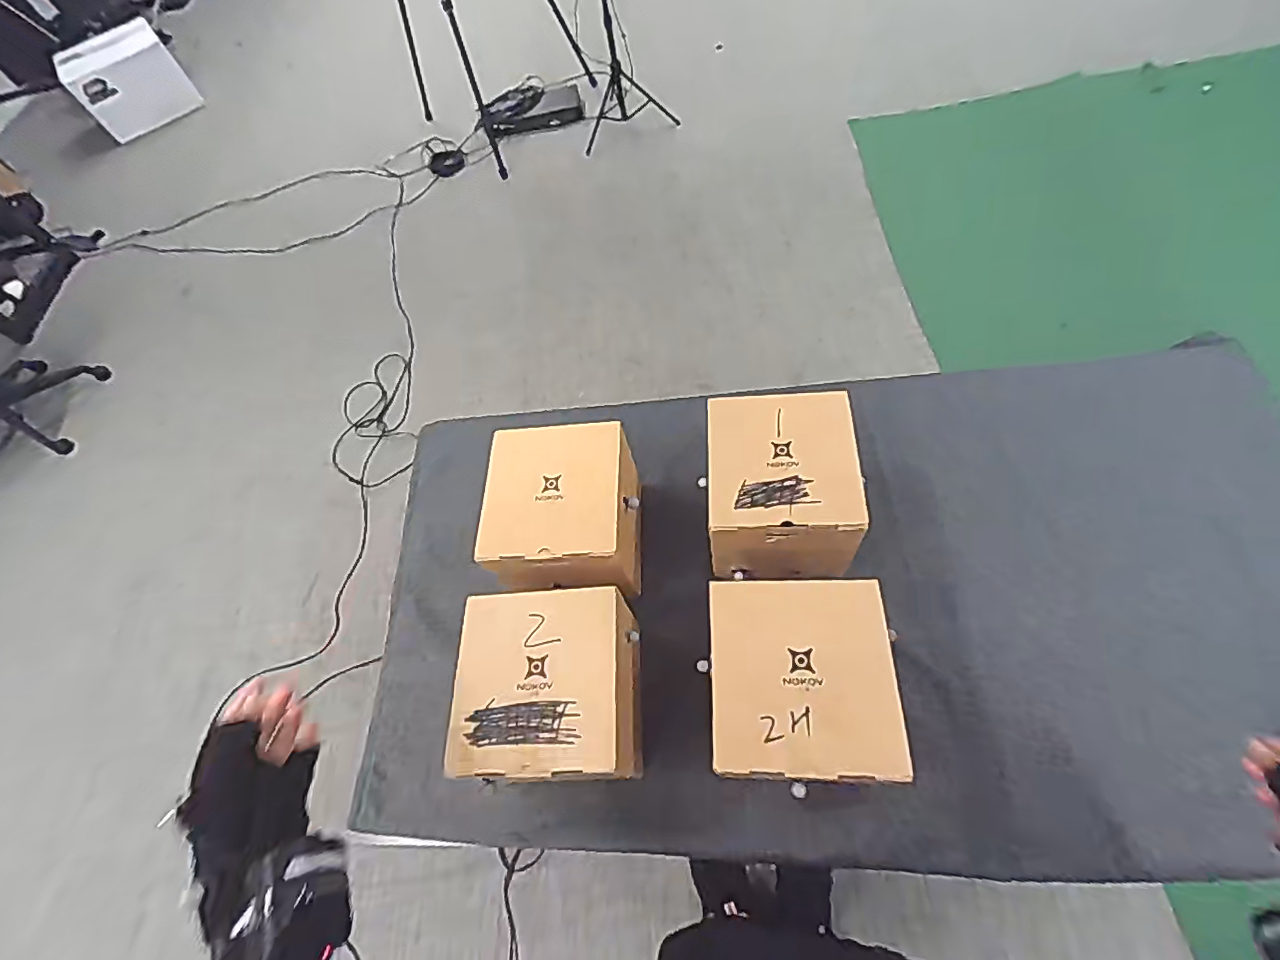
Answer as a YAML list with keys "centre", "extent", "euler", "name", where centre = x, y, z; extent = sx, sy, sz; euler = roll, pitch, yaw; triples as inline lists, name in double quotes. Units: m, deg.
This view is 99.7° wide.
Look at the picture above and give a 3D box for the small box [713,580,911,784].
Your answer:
- centre: [0.161, 0.216, 0.570]
  extent: [0.168, 0.176, 0.179]
  euler: [-3, 61, 9]
  name: "small box"
